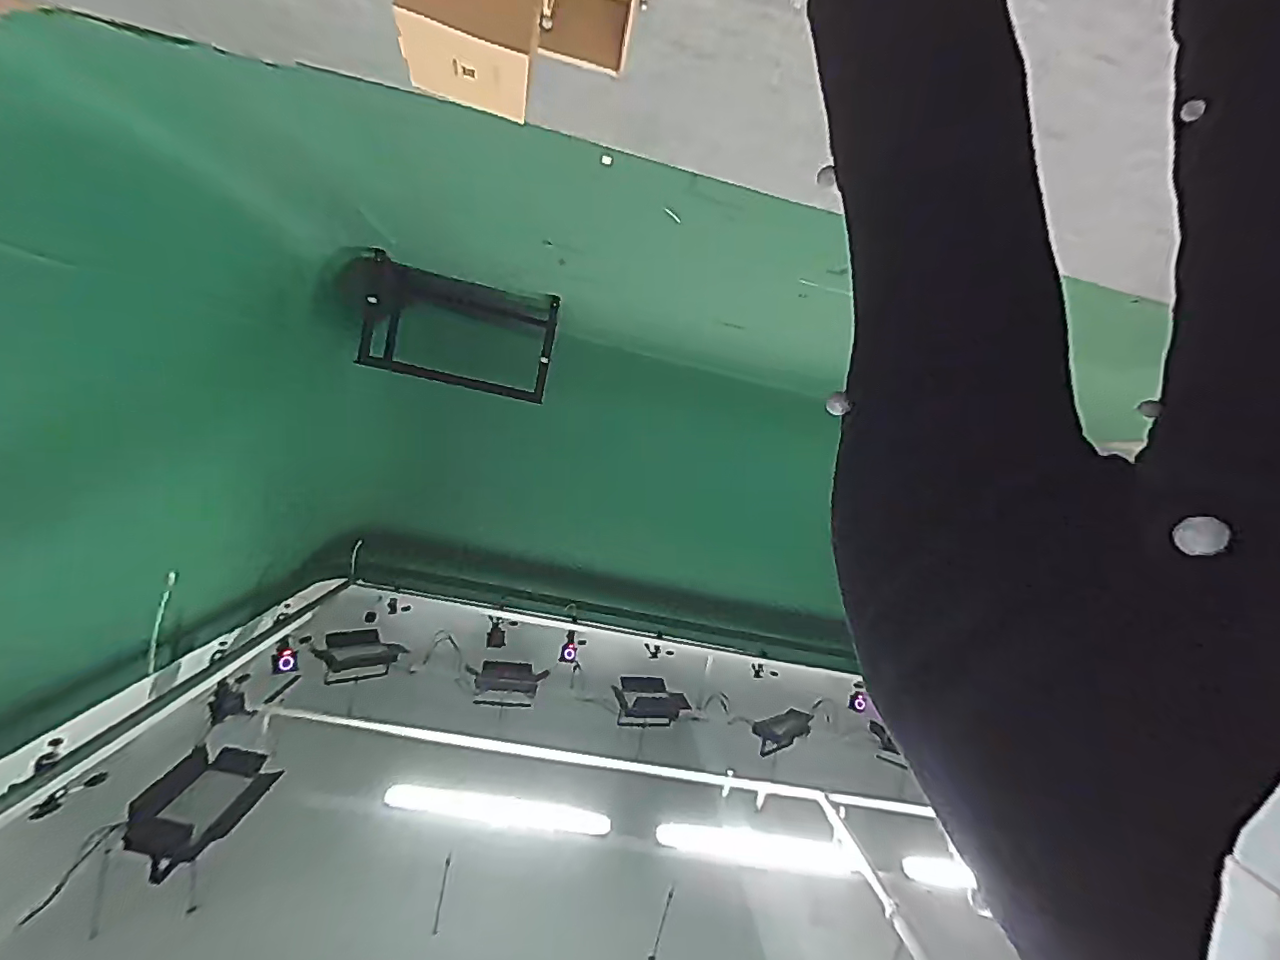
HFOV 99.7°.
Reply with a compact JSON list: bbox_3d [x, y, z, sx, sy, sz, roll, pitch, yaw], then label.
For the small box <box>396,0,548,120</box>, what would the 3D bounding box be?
[{"bbox_3d":[-0.231,-0.674,0.774,0.179,0.176,0.168,11,-179,-16],"label":"small box"}]
